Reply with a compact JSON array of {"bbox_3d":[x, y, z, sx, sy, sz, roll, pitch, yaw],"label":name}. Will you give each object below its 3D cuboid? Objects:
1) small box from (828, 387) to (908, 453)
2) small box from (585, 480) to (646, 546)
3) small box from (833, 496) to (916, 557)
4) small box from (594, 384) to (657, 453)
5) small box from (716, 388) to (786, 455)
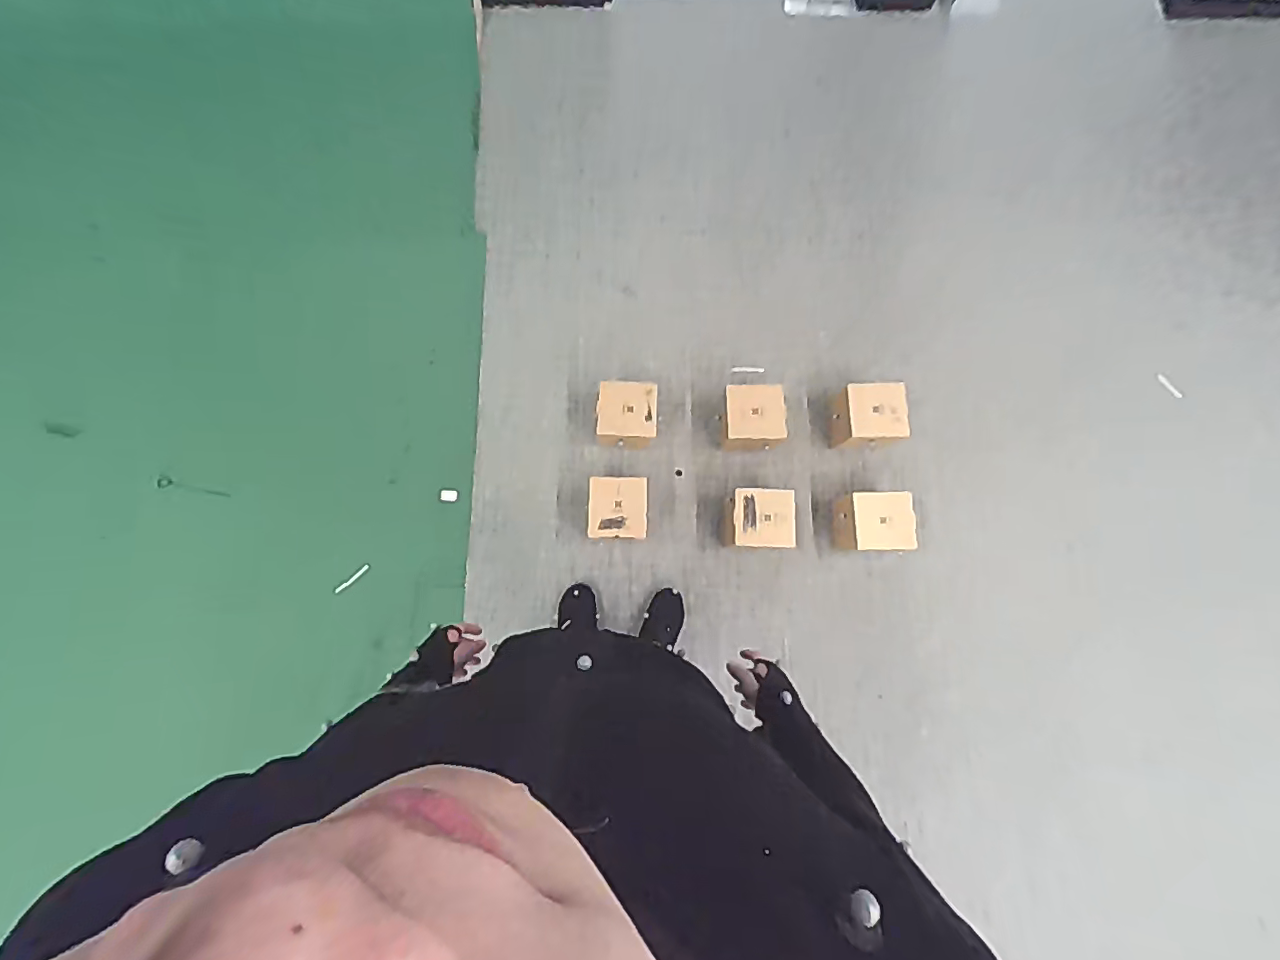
[{"bbox_3d":[0.692,-0.180,1.665,0.179,0.176,0.168,-1,80,-2],"label":"small box"},{"bbox_3d":[-0.069,0.102,1.591,0.168,0.176,0.179,2,79,-2],"label":"small box"},{"bbox_3d":[0.687,0.141,1.609,0.179,0.176,0.168,-1,79,-3],"label":"small box"},{"bbox_3d":[-0.043,-0.182,1.645,0.179,0.176,0.168,3,80,0],"label":"small box"},{"bbox_3d":[0.335,-0.175,1.655,0.179,0.176,0.168,0,79,-1],"label":"small box"}]
